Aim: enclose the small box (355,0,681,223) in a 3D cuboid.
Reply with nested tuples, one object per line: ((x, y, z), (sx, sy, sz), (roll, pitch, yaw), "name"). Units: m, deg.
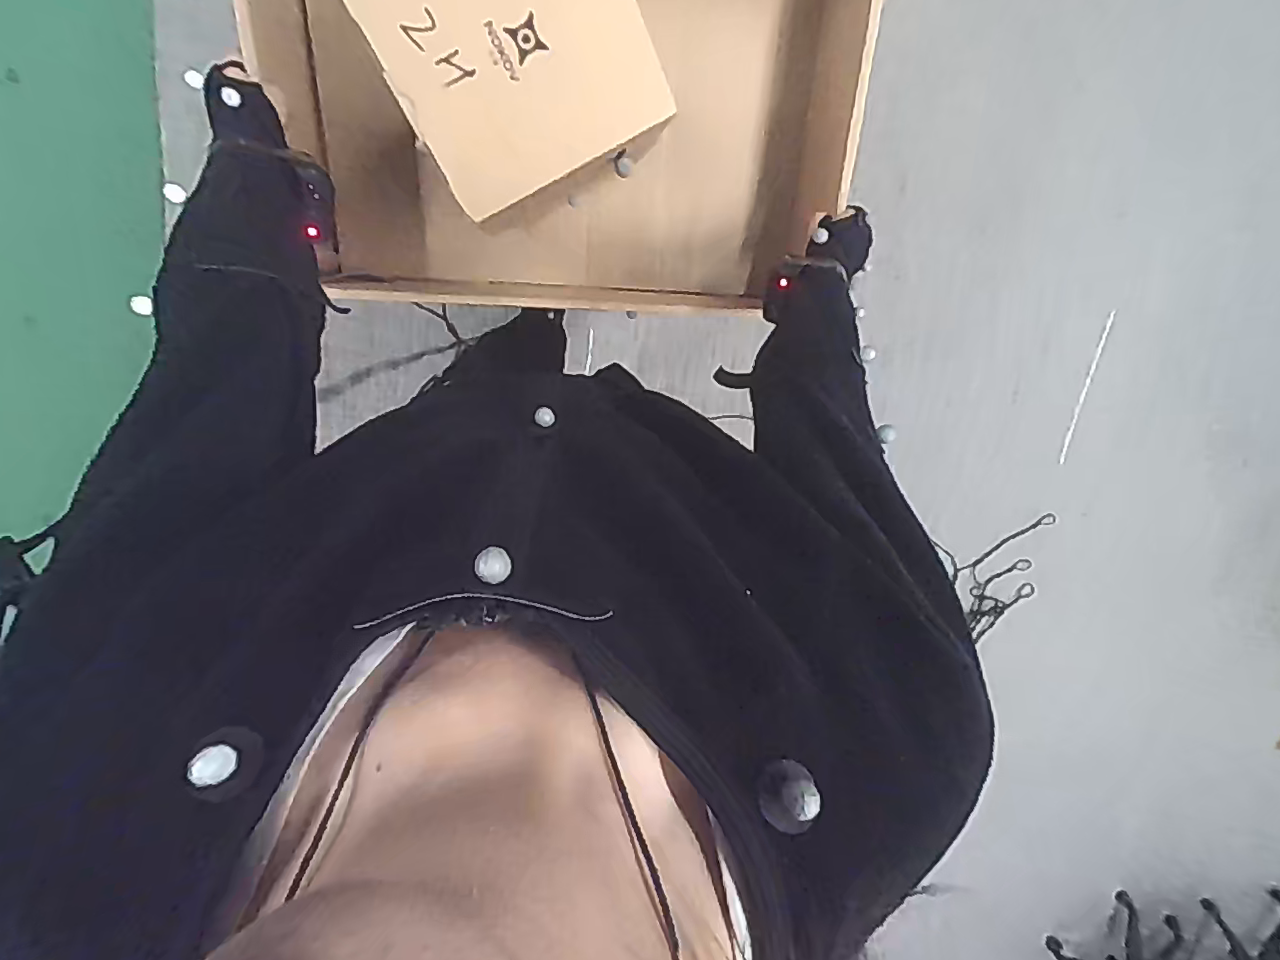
((-0.093, -0.328, 0.432), (0.179, 0.176, 0.168), (-28, 113, 3), "small box")
